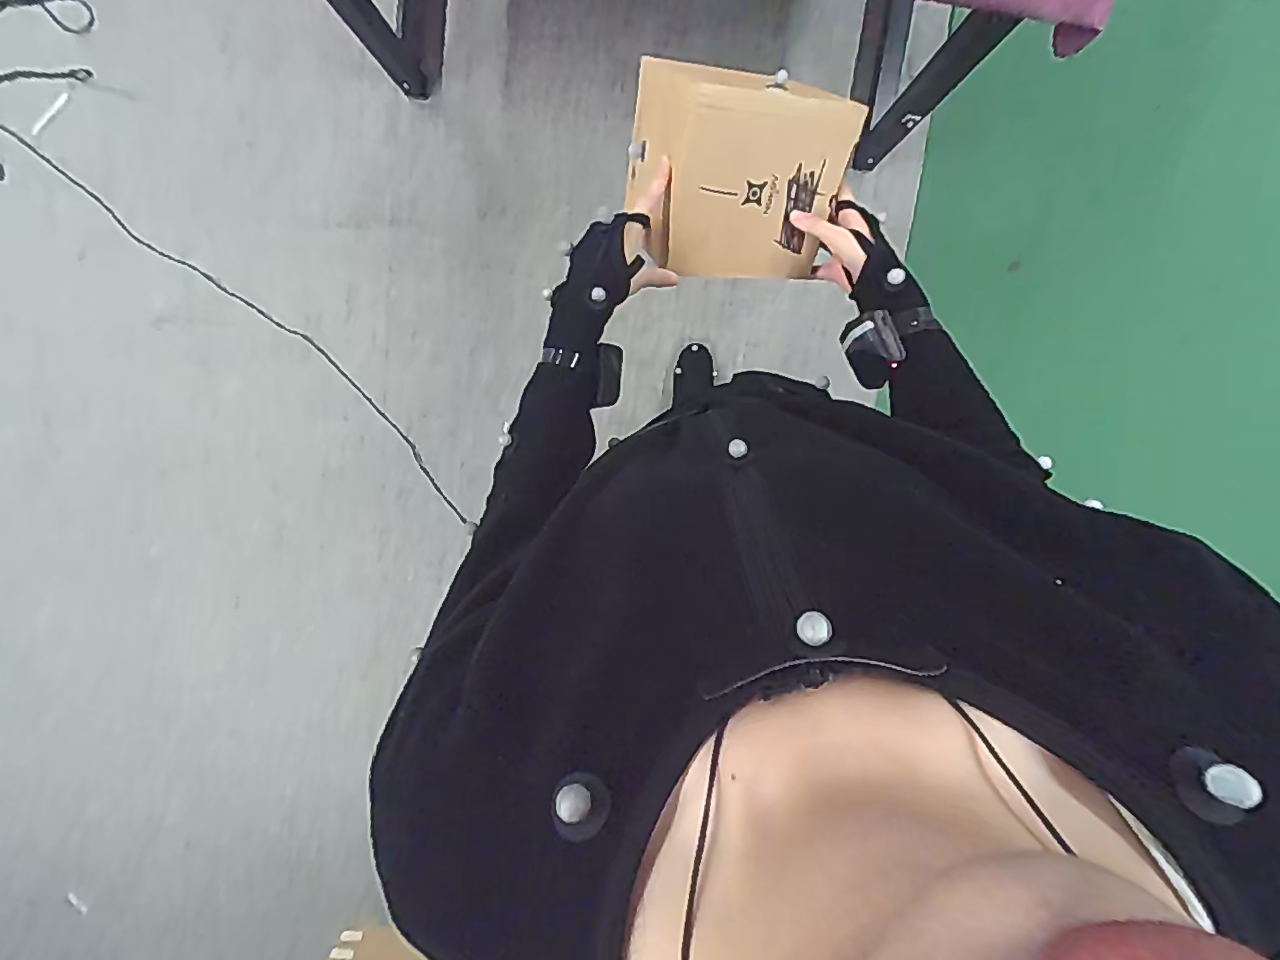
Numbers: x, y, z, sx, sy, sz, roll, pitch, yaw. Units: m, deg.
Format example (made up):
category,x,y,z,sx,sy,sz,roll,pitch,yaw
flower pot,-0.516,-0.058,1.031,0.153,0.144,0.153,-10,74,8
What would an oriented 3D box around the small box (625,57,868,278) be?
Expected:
category,x,y,z,sx,sy,sz,roll,pitch,yaw
small box,0.096,-0.333,0.579,0.179,0.176,0.168,-5,133,-17
